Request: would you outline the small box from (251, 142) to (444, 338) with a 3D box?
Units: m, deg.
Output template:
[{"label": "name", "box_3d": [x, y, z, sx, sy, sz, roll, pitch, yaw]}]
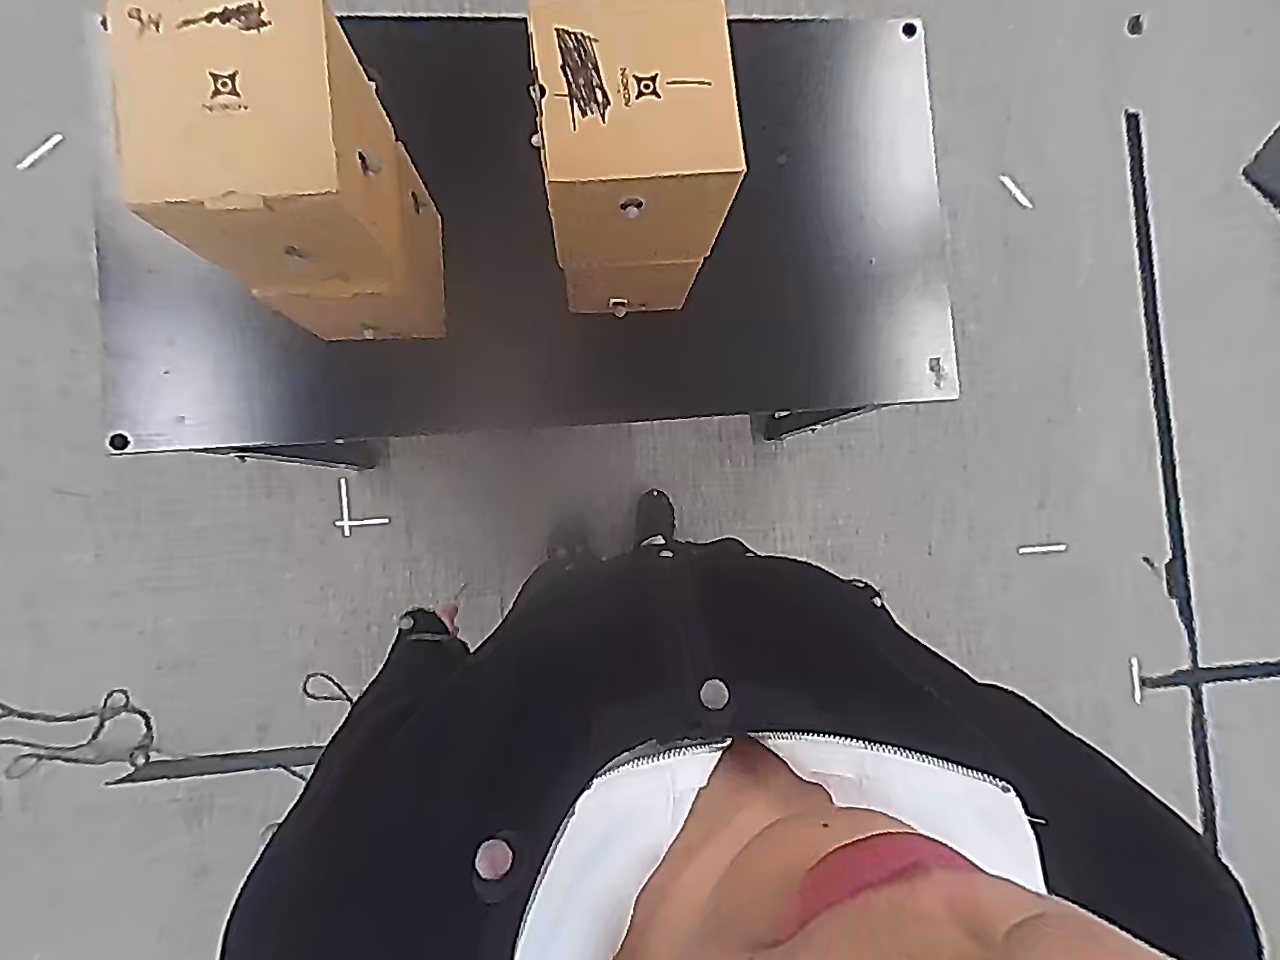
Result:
[{"label": "small box", "box_3d": [-0.353, -0.290, 0.680, 0.168, 0.176, 0.179, -3, 88, -5]}]

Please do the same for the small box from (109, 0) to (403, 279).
[{"label": "small box", "box_3d": [-0.342, -0.305, 0.517, 0.168, 0.176, 0.179, -6, 89, -5]}]

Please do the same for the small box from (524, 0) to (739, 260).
[{"label": "small box", "box_3d": [-0.012, -0.340, 0.550, 0.179, 0.176, 0.168, -7, 88, -5]}]

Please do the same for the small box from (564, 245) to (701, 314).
[{"label": "small box", "box_3d": [-0.021, -0.337, 0.714, 0.168, 0.176, 0.179, -5, 89, -4]}]
